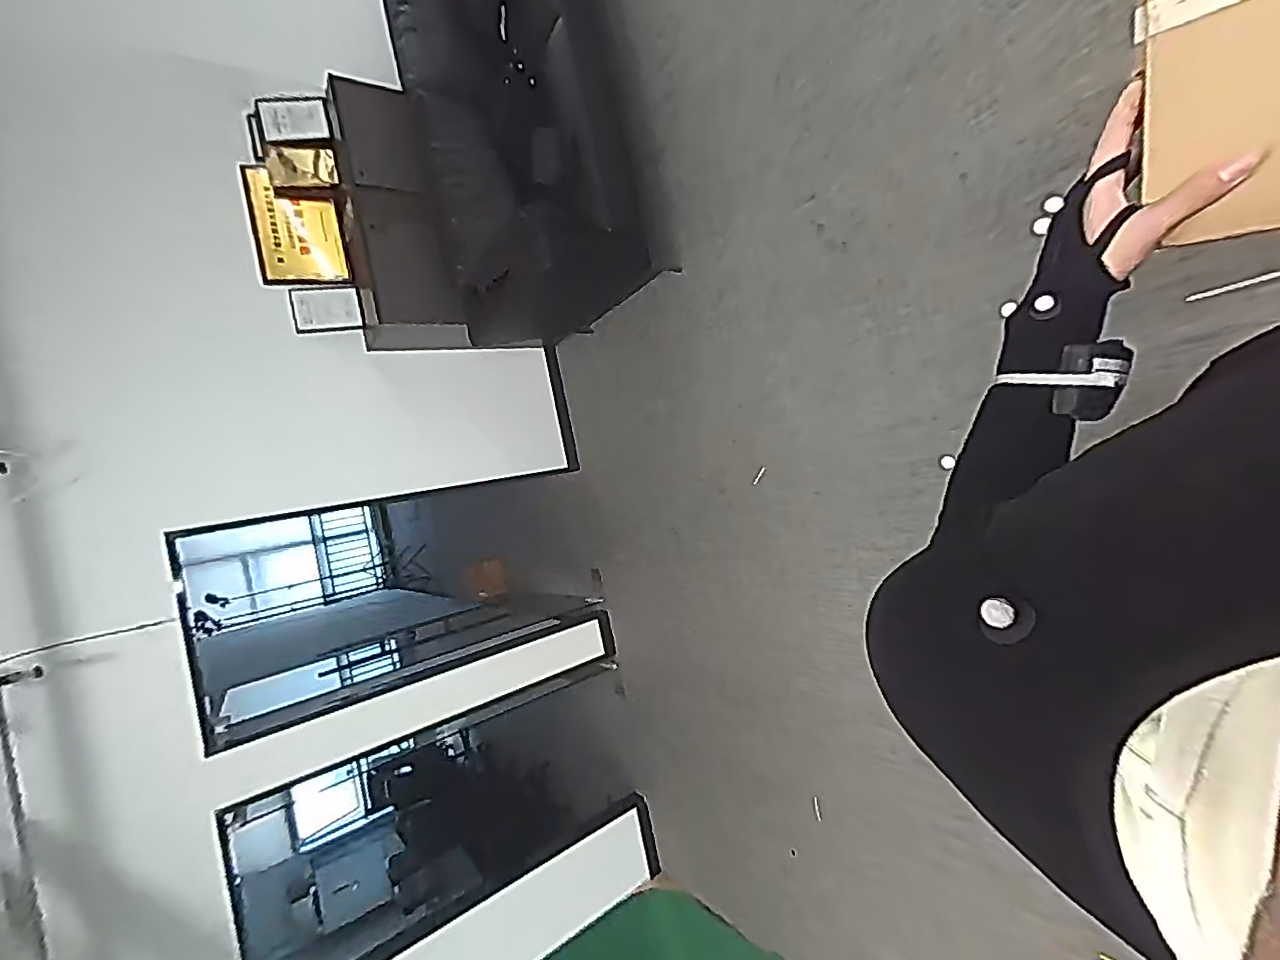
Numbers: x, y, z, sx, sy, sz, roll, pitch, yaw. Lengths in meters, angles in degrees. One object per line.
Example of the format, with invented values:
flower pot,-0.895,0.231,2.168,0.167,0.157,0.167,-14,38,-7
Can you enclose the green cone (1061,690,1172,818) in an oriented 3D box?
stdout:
green cone,1.084,0.684,1.287,0.200,0.368,0.202,-2,99,55
